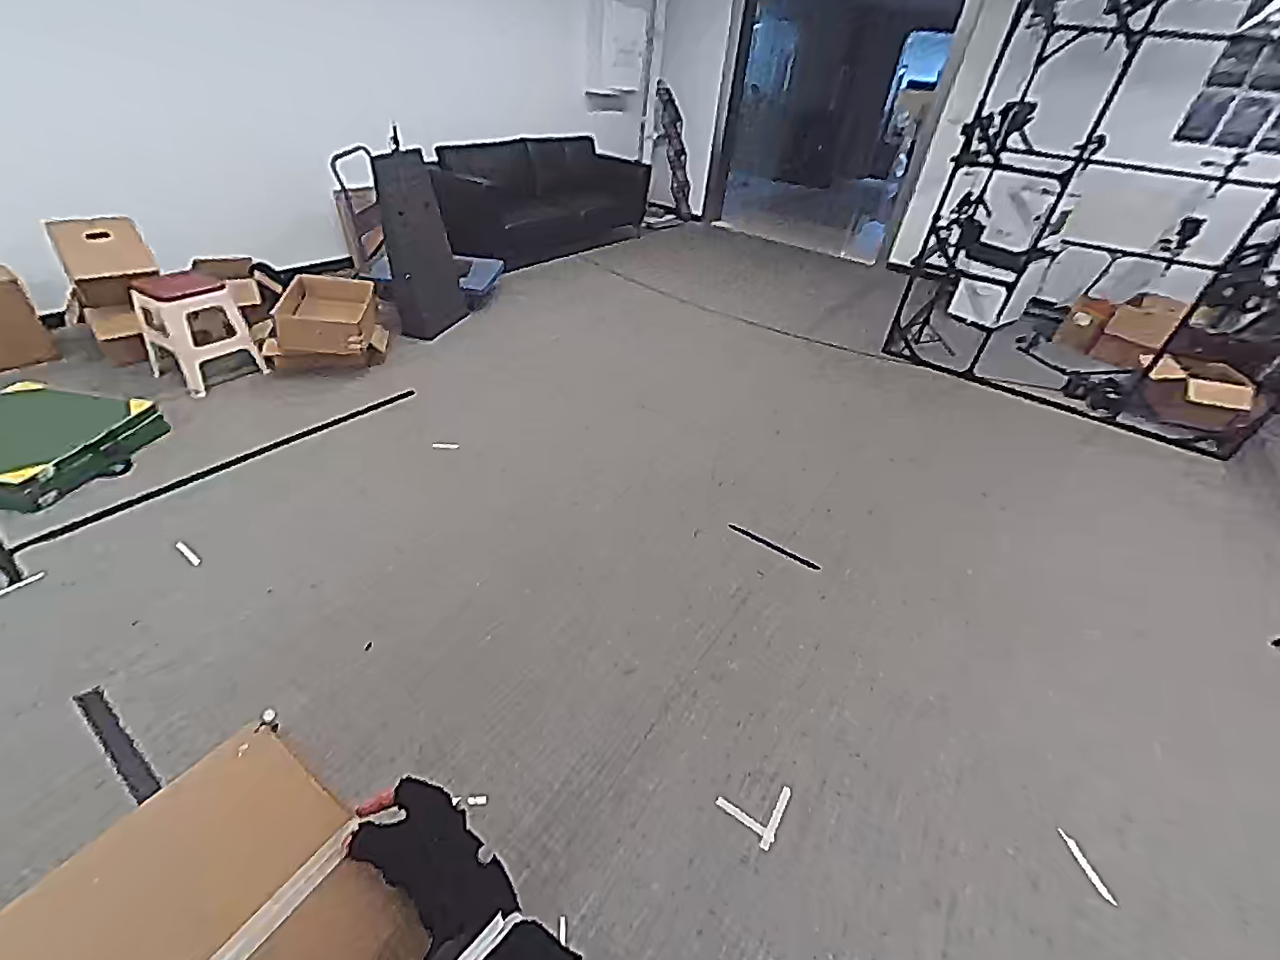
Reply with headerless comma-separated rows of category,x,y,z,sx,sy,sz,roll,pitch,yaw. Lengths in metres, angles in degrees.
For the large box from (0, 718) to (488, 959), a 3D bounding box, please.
large box,-0.385,0.520,0.469,0.320,0.320,0.408,32,45,19
